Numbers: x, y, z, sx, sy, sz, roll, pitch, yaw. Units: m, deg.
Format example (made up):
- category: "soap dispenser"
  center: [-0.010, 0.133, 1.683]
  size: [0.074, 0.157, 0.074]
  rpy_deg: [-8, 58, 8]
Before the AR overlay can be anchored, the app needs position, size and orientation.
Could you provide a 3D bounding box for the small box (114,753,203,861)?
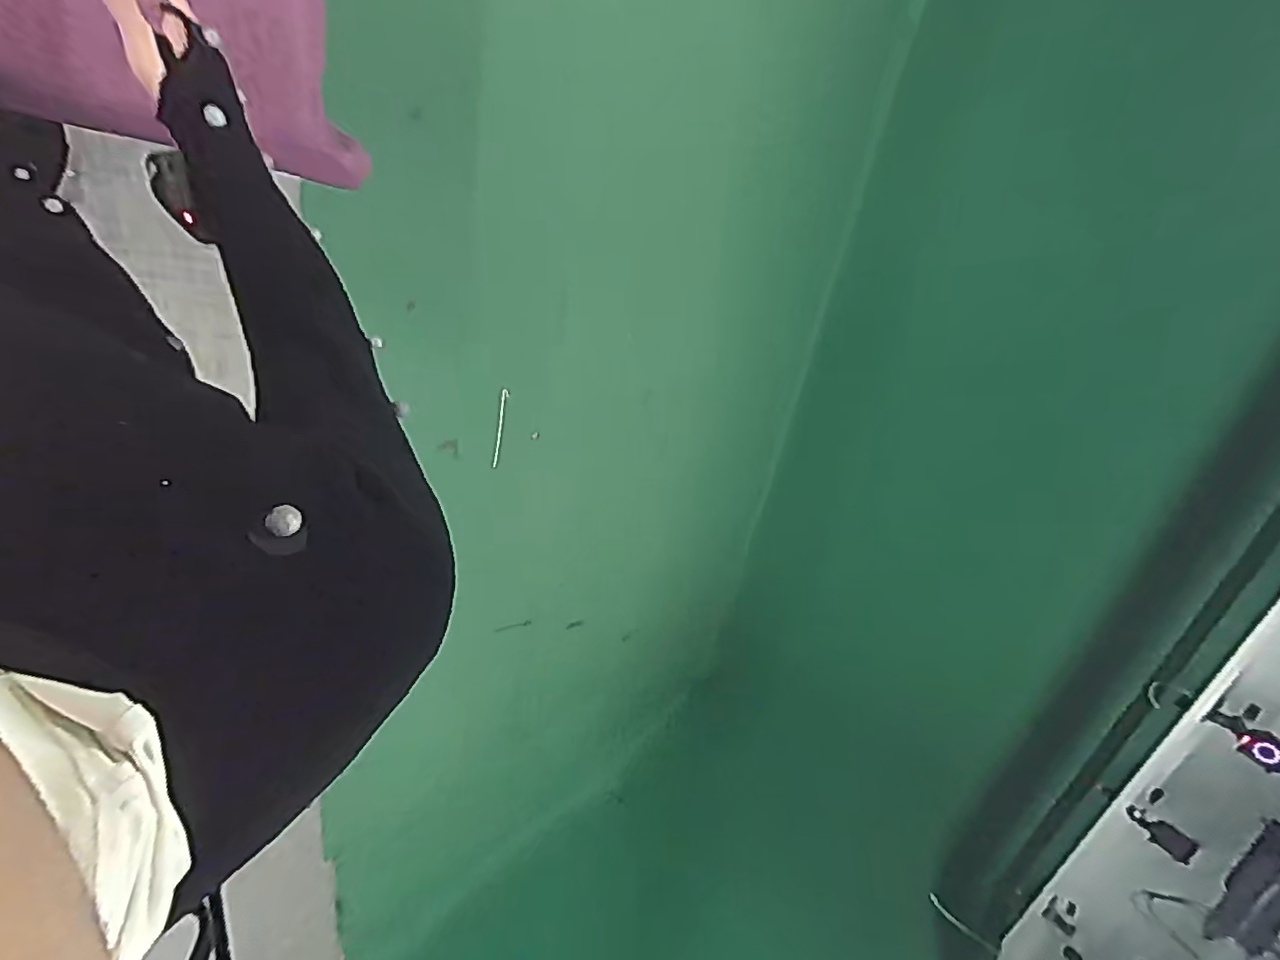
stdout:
- category: "small box"
  center: [-1.419, 0.956, 1.594]
  size: [0.168, 0.176, 0.179]
  rpy_deg: [-13, 125, -48]
